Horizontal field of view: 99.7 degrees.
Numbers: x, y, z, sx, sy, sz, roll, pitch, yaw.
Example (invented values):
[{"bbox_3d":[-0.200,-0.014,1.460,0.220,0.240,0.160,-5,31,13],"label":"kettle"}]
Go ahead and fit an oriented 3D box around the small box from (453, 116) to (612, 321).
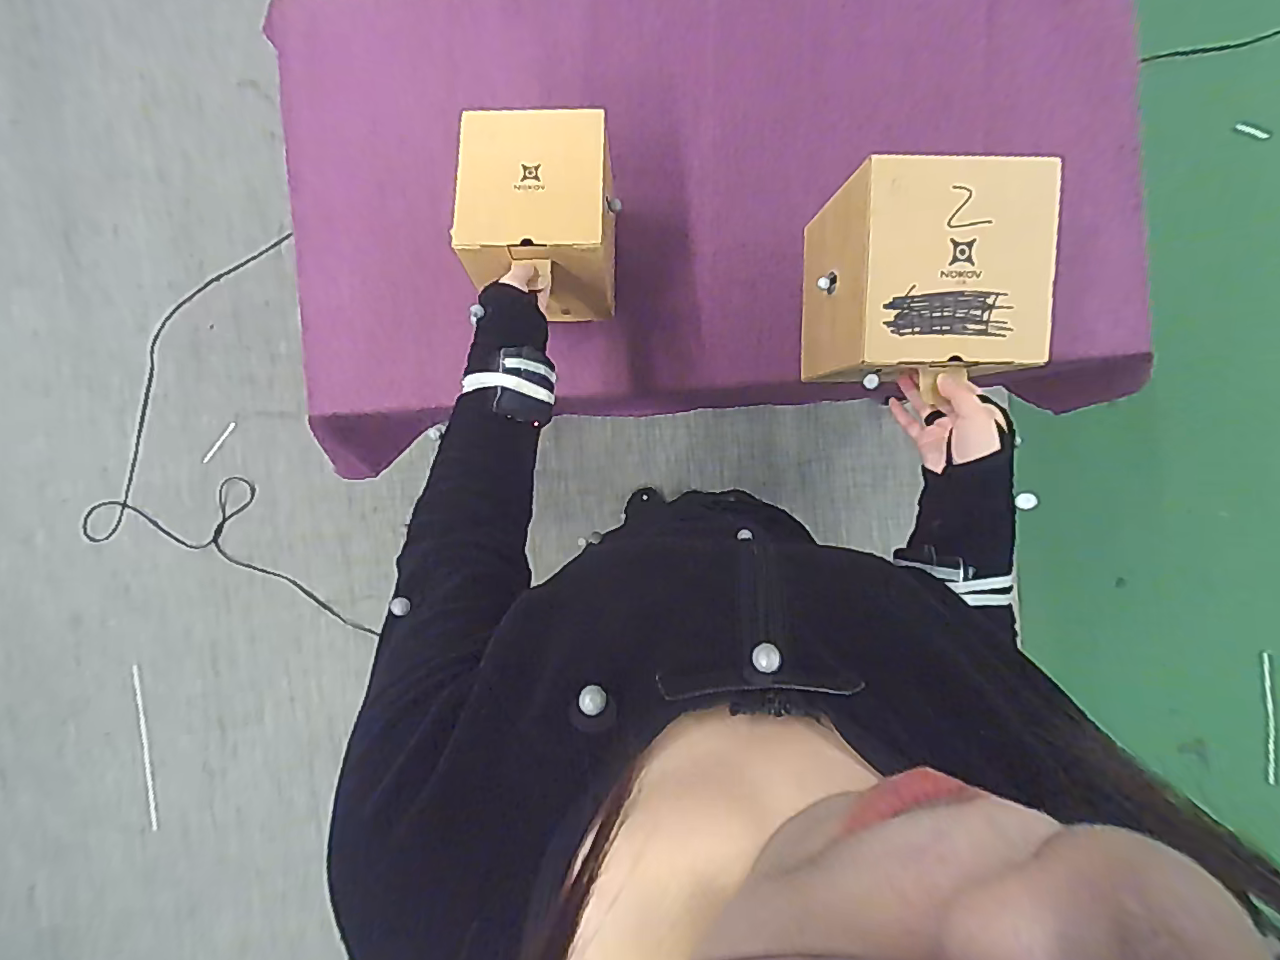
[{"bbox_3d":[-0.125,-0.325,0.694,0.168,0.176,0.179,0,80,1],"label":"small box"}]
